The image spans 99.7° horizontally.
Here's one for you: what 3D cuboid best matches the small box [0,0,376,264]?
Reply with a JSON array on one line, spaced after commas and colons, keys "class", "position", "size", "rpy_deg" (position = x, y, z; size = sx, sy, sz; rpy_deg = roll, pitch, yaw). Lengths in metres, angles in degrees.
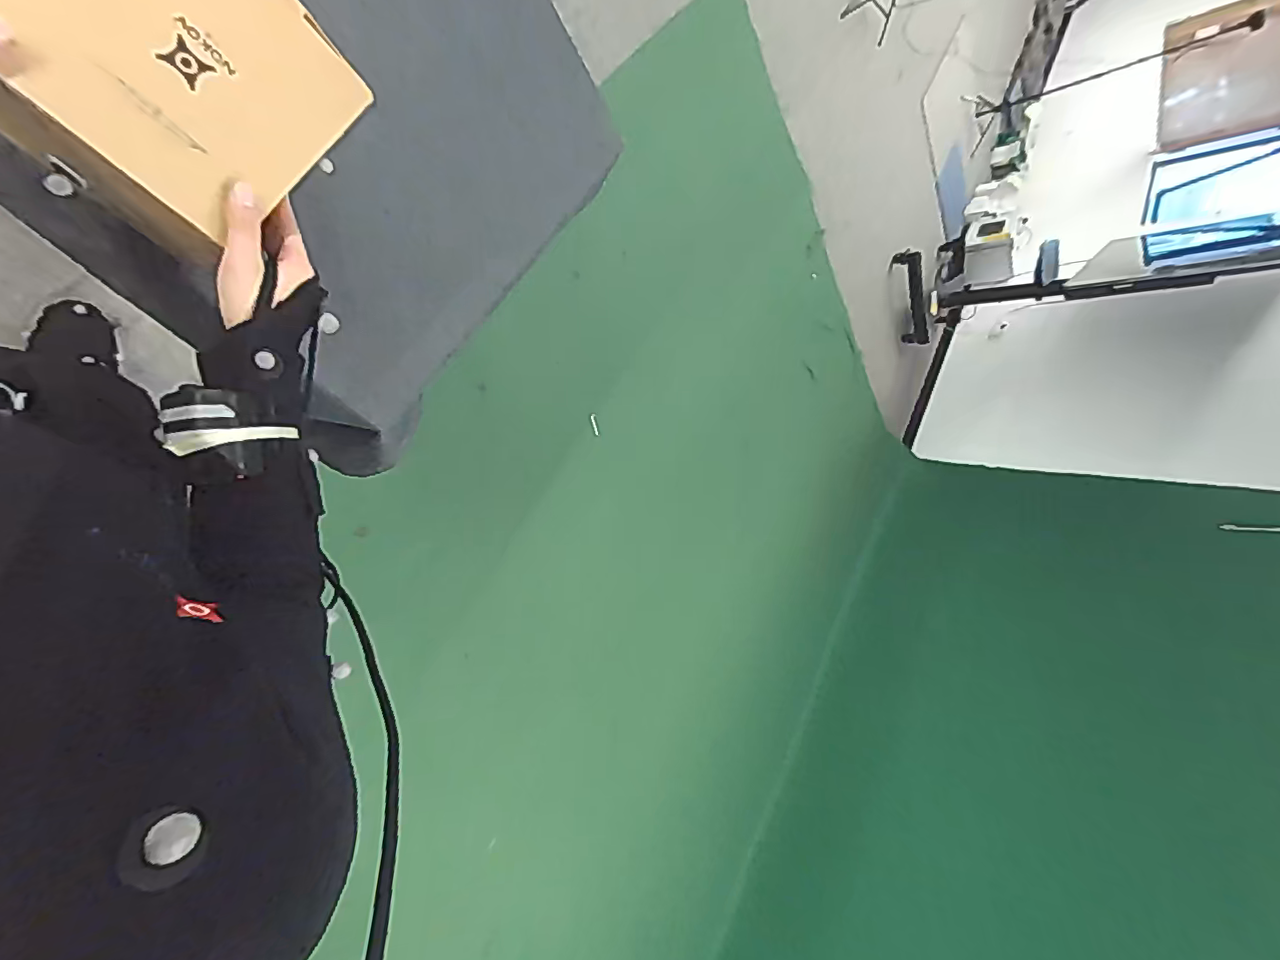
[{"class": "small box", "position": [-0.347, -0.290, 0.407], "size": [0.168, 0.176, 0.179], "rpy_deg": [43, 70, -43]}]
